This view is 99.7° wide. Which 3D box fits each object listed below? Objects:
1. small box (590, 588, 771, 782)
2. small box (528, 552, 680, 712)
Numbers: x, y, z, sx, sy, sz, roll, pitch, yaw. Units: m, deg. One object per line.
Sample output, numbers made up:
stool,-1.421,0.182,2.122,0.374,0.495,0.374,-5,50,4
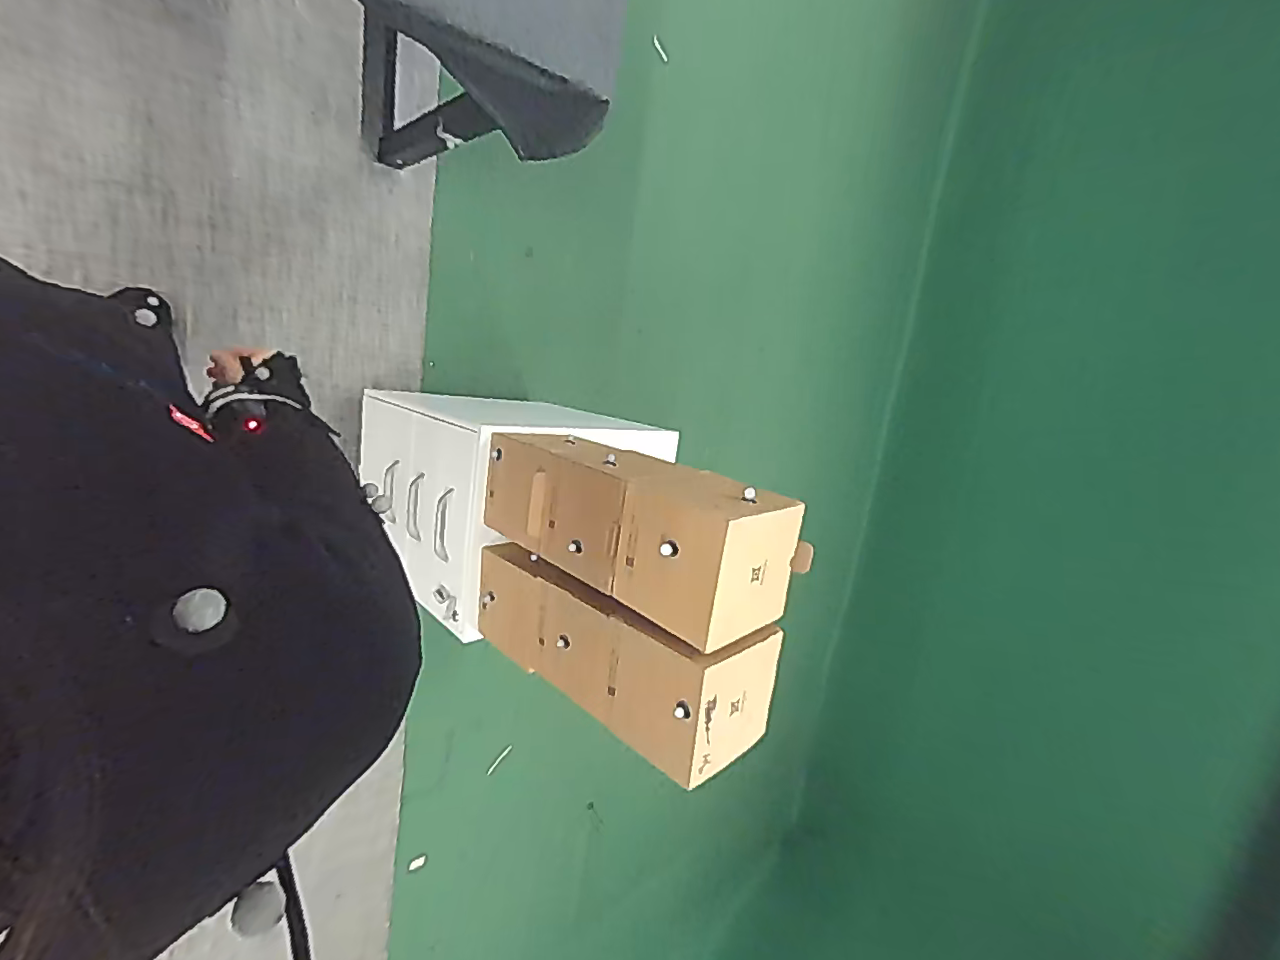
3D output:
small box,0.055,0.266,0.754,0.179,0.176,0.168,-6,107,-47
small box,-0.062,0.229,0.862,0.179,0.176,0.168,-9,110,-45
